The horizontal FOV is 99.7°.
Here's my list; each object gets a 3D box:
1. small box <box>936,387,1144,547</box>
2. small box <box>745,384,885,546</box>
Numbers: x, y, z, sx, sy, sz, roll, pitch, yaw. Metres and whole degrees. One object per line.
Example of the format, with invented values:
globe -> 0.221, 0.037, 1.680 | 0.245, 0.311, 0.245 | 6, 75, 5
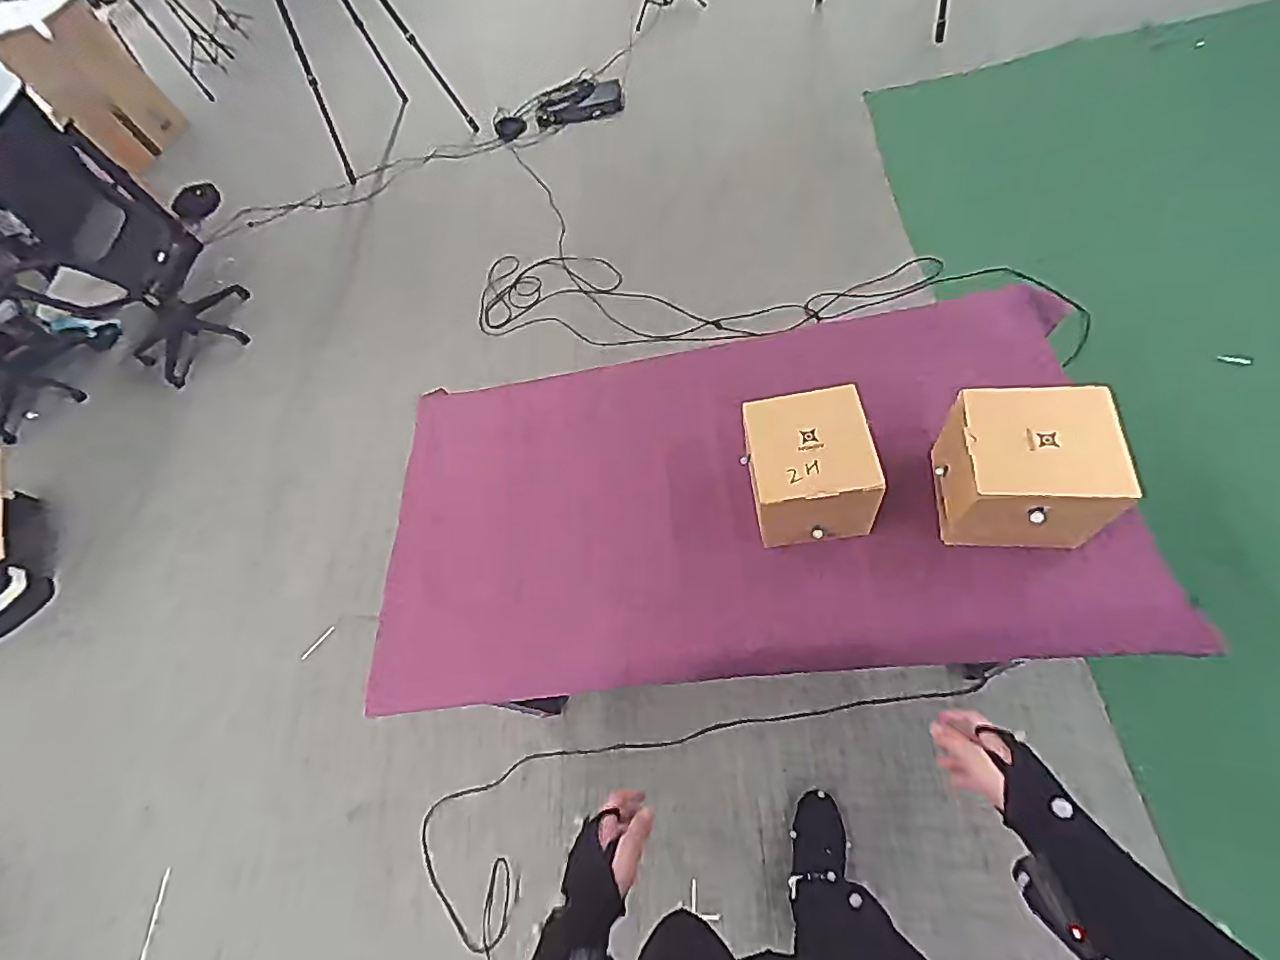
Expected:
small box -> 0.532, -0.013, 0.751 | 0.179, 0.176, 0.168 | 0, 63, 17
small box -> 0.255, -0.016, 0.824 | 0.168, 0.176, 0.179 | -9, 61, 11
